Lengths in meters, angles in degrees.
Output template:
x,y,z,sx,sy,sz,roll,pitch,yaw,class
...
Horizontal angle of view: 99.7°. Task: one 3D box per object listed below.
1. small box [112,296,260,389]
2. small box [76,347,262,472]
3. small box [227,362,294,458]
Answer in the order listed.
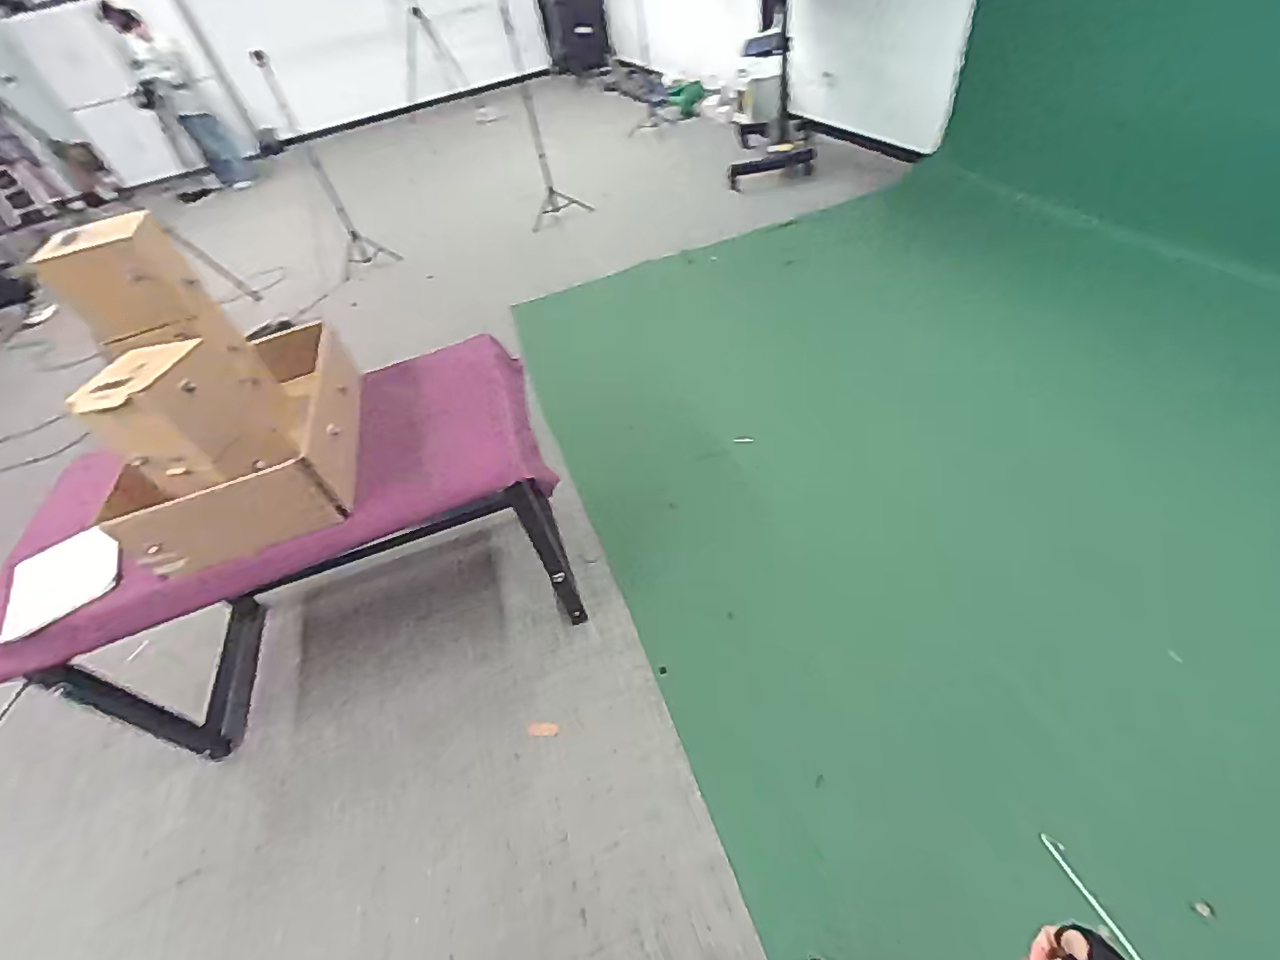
x,y,z,sx,sy,sz,roll,pitch,yaw,class
-1.016,-0.285,1.227,0.179,0.176,0.168,-21,47,-8,small box
-0.879,-0.128,1.035,0.168,0.176,0.179,-6,44,10,small box
-0.997,-0.175,1.345,0.168,0.176,0.179,-19,47,-6,small box
